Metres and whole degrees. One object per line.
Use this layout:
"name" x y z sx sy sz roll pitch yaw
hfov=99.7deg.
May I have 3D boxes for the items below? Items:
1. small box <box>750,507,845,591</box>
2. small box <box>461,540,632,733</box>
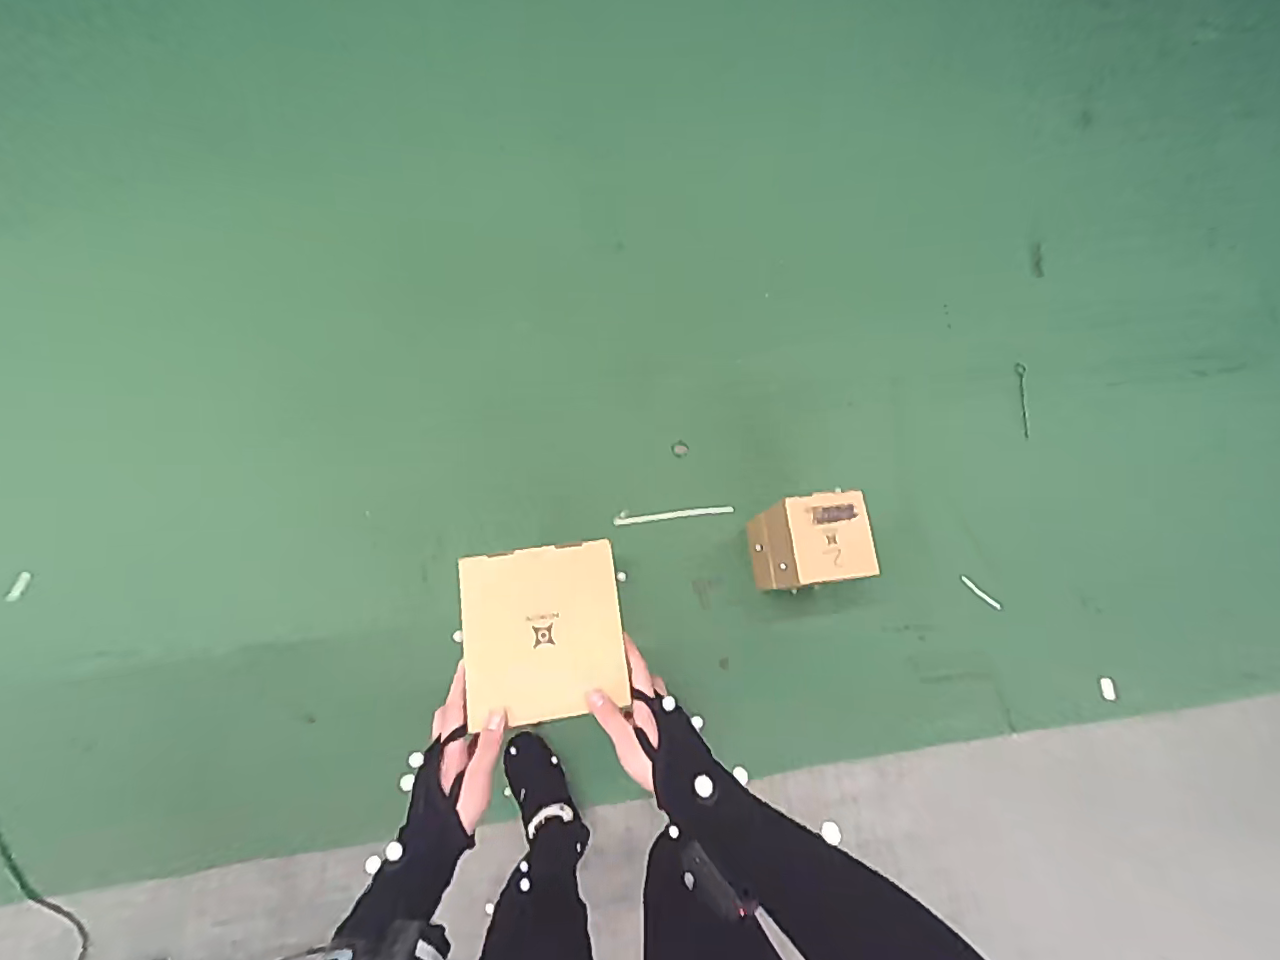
"small box" 0.376 0.172 1.322 0.168 0.176 0.179 -5 77 -3
"small box" -0.104 0.179 0.635 0.168 0.176 0.179 -7 73 -7
